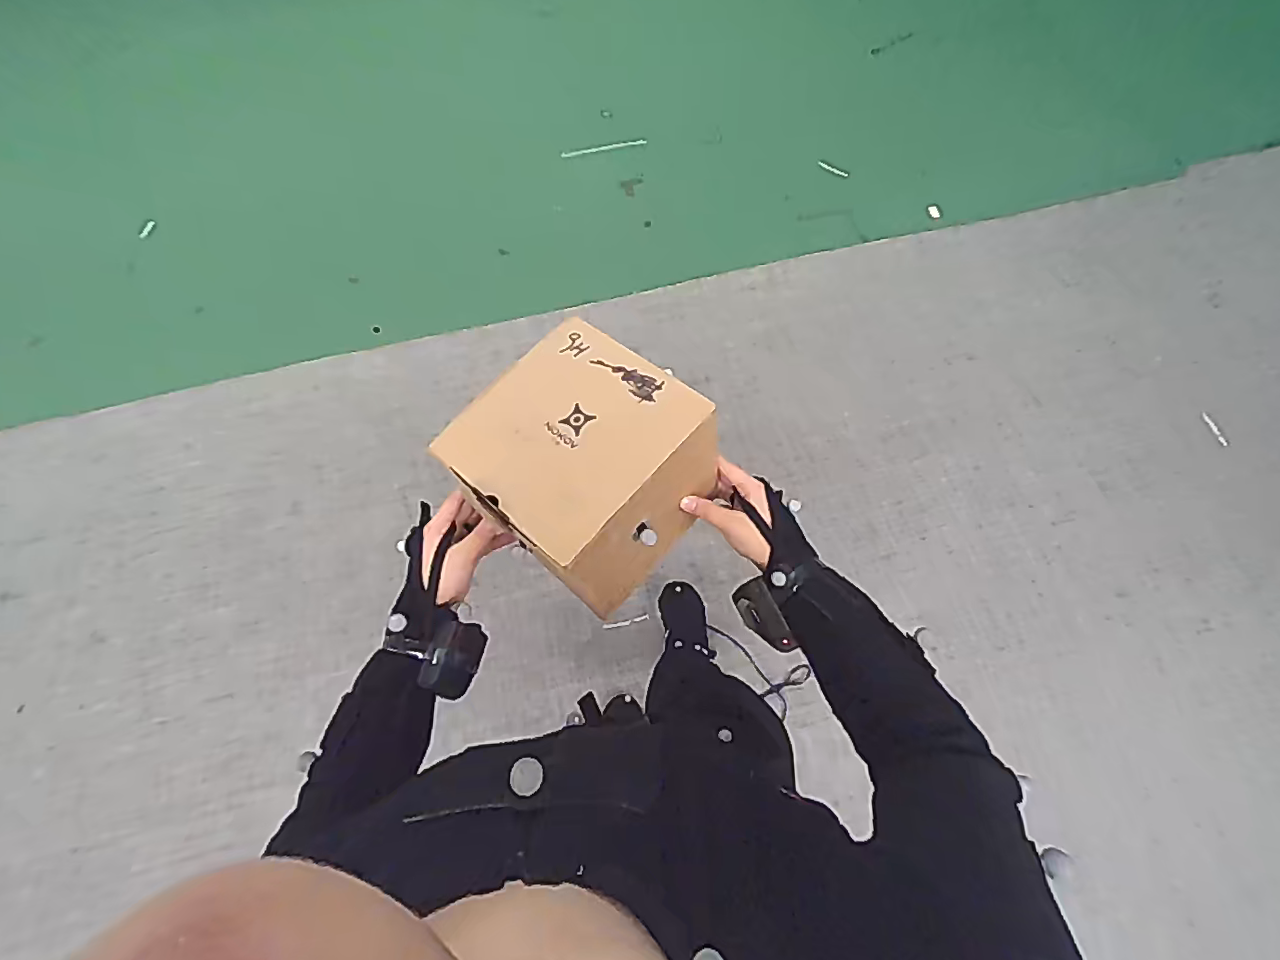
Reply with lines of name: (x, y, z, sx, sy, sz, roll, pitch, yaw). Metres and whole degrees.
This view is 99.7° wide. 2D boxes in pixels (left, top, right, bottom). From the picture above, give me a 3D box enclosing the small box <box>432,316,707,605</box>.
small box: (-0.048, -0.008, 0.507, 0.168, 0.176, 0.179, 37, 74, 22)
